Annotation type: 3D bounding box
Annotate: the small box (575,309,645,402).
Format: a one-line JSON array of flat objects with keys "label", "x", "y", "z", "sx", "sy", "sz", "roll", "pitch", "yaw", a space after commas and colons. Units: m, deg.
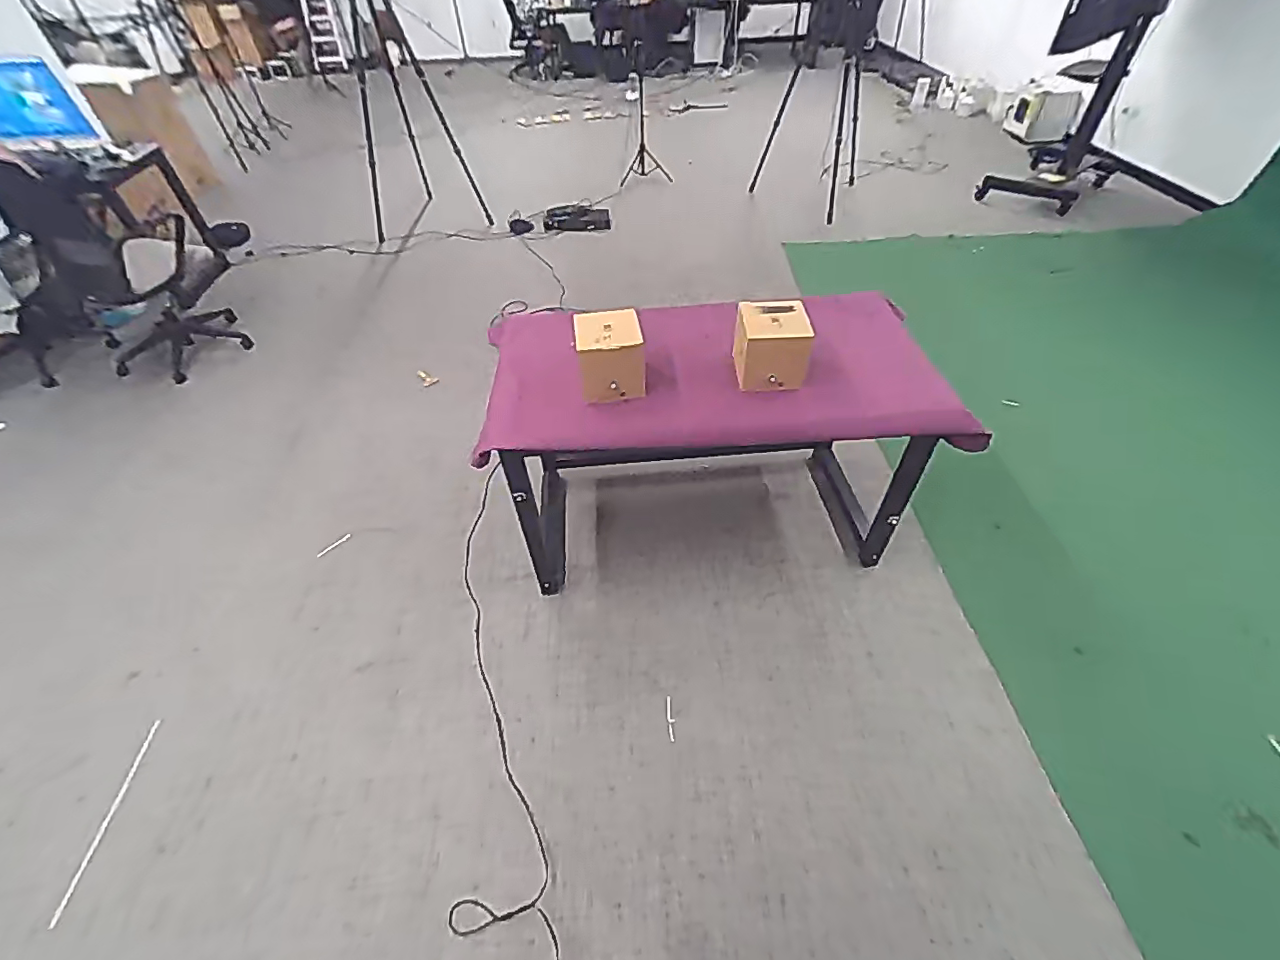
[{"label": "small box", "x": -0.080, "y": -0.326, "z": 1.421, "sx": 0.168, "sy": 0.176, "sz": 0.179, "roll": -7, "pitch": 47, "yaw": -4}]
